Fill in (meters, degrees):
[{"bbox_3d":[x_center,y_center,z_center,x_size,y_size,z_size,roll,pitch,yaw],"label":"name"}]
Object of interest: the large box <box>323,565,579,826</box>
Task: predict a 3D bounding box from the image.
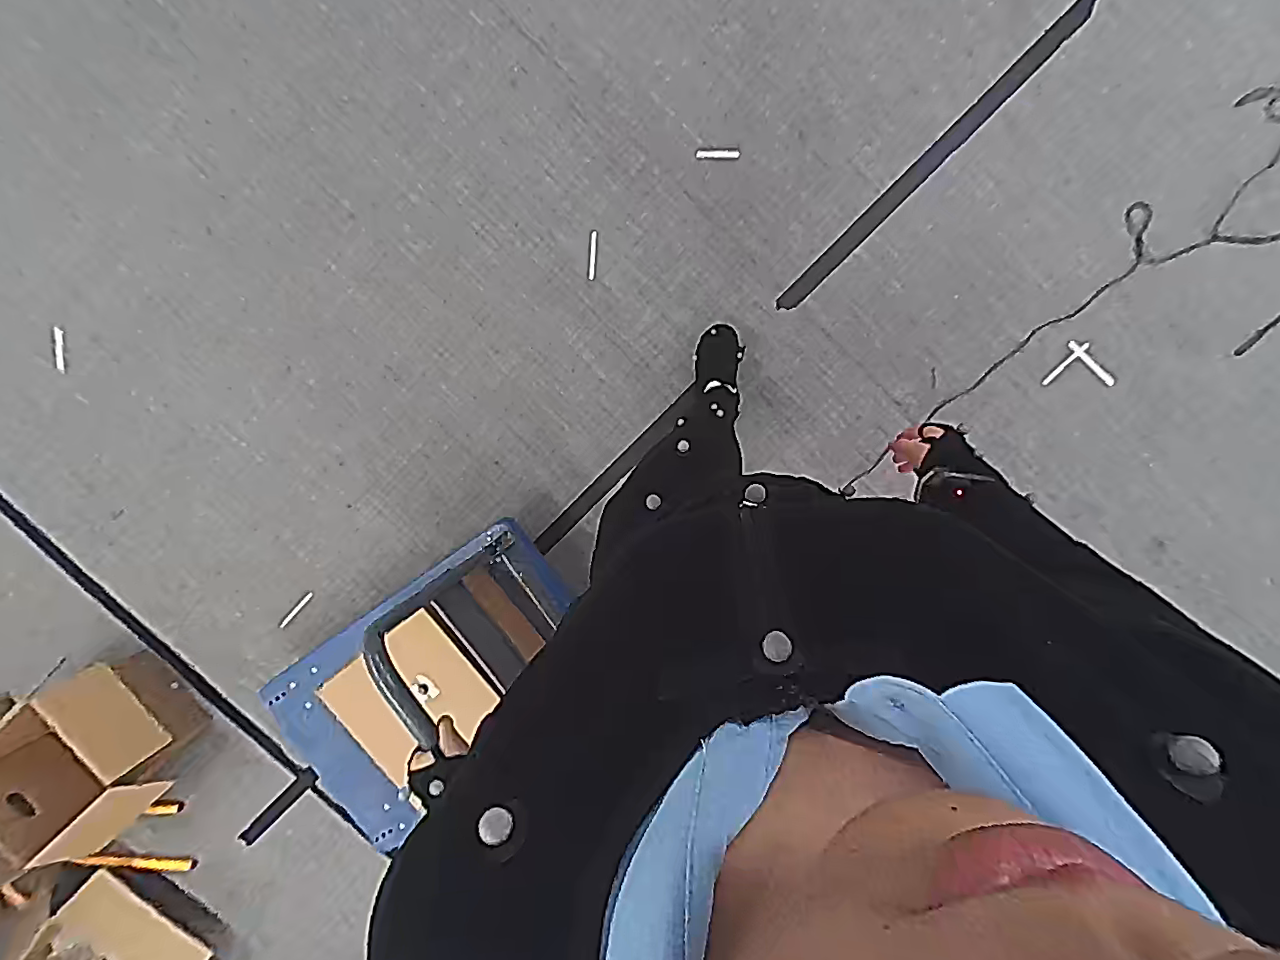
[{"bbox_3d":[-0.407,0.474,1.259,0.320,0.320,0.408,-39,92,7],"label":"large box"}]
